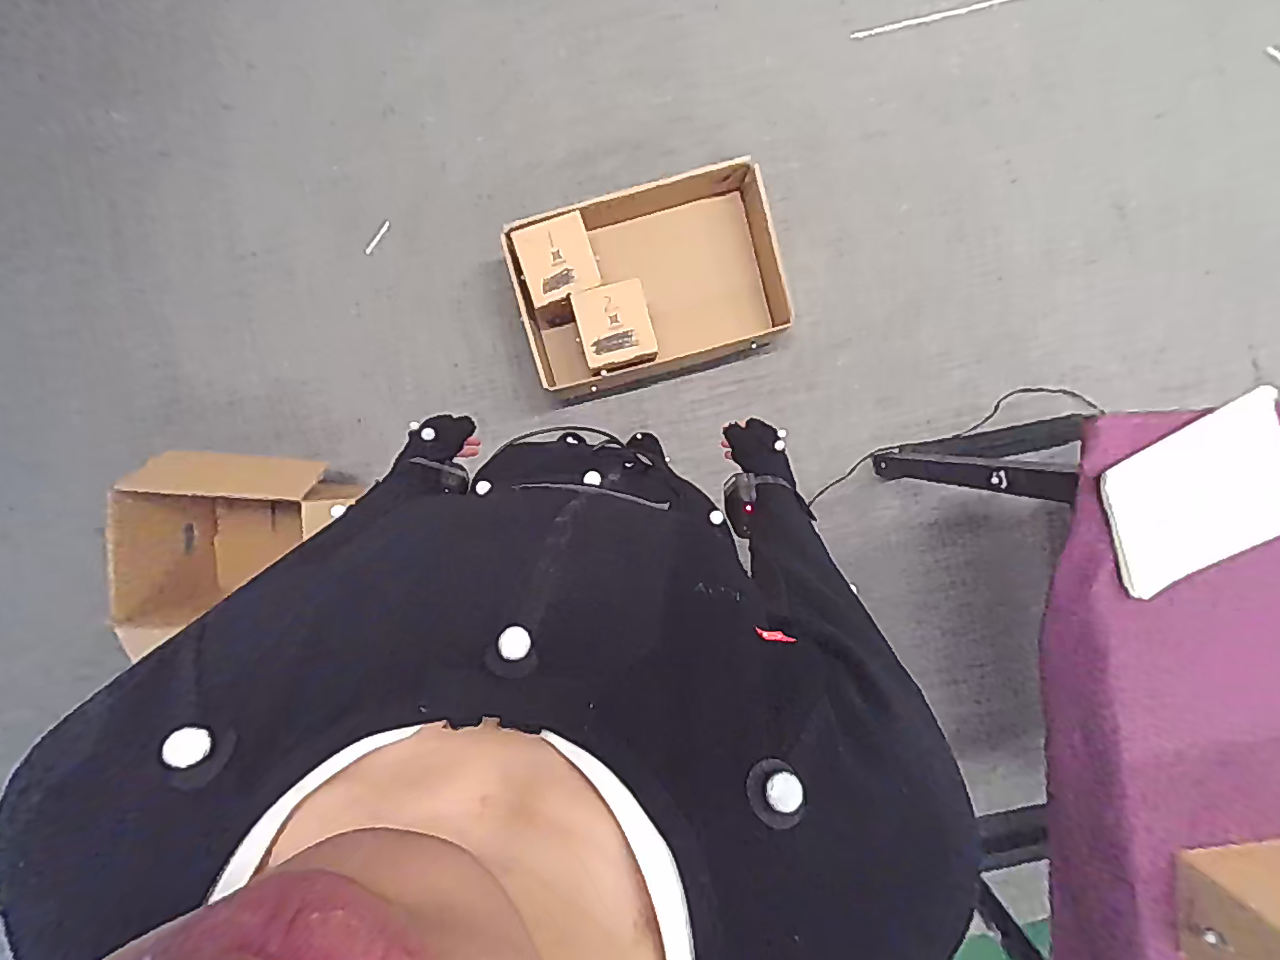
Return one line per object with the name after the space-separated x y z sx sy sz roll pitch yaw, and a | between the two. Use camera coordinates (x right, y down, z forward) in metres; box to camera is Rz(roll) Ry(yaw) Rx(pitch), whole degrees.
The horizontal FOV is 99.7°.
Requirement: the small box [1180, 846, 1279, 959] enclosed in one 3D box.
0.876 0.617 0.708 0.179 0.176 0.168 -6 94 0 | small box
